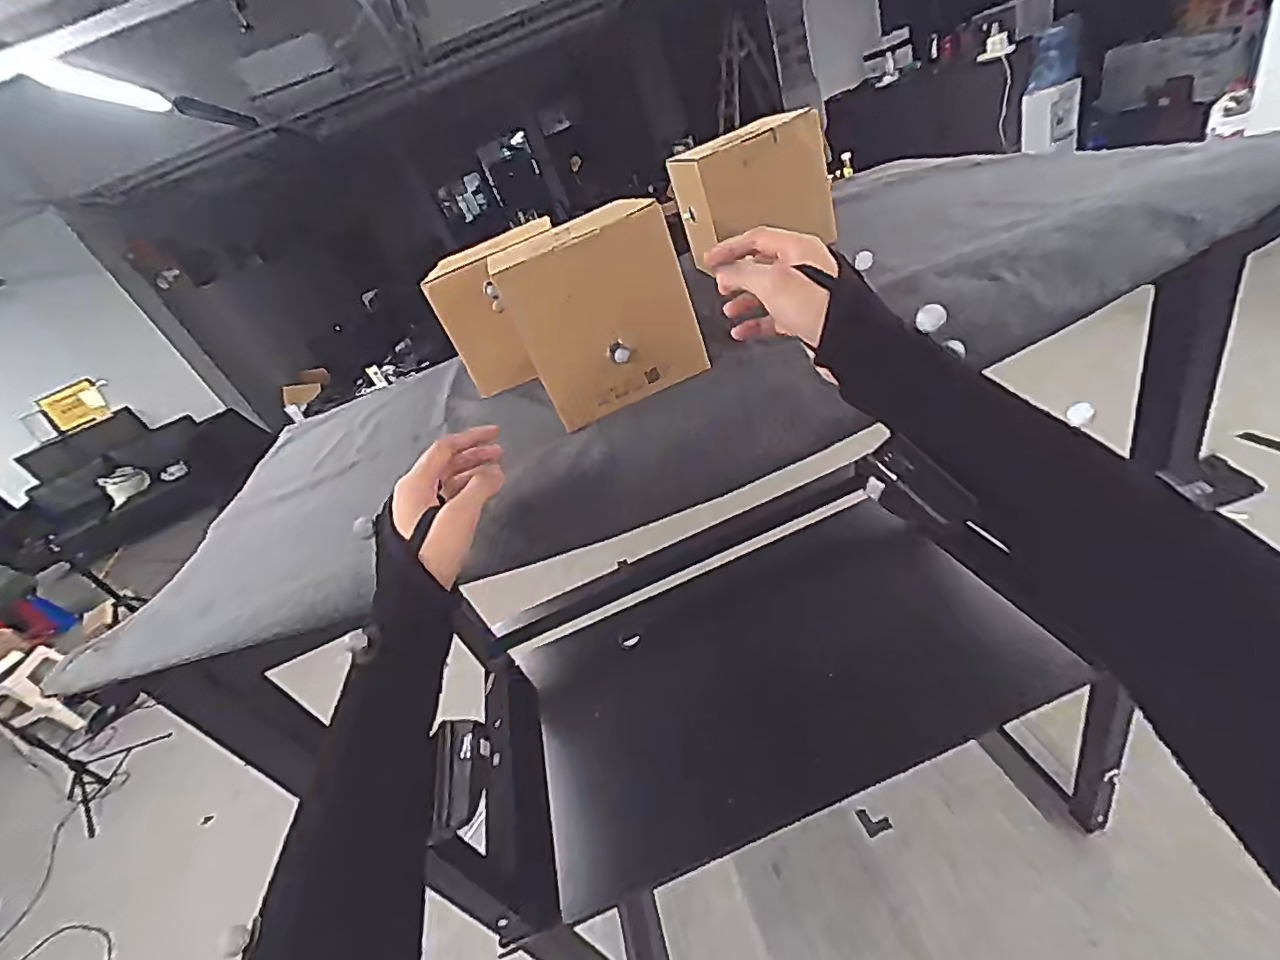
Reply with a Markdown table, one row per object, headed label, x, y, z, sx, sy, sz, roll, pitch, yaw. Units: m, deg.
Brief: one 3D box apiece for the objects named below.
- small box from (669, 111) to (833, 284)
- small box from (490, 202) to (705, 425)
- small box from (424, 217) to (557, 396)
| label | x | y | z | sx | sy | sz | roll | pitch | yaw |
| --- | --- | --- | --- | --- | --- | --- | --- | --- | --- |
| small box | 0.160 | -0.403 | 0.787 | 0.168 | 0.176 | 0.179 | -22 | 31 | 1 |
| small box | -0.049 | -0.182 | 0.587 | 0.168 | 0.176 | 0.179 | -25 | 31 | -2 |
| small box | -0.170 | -0.245 | 0.764 | 0.179 | 0.176 | 0.168 | -22 | 32 | 3 |
